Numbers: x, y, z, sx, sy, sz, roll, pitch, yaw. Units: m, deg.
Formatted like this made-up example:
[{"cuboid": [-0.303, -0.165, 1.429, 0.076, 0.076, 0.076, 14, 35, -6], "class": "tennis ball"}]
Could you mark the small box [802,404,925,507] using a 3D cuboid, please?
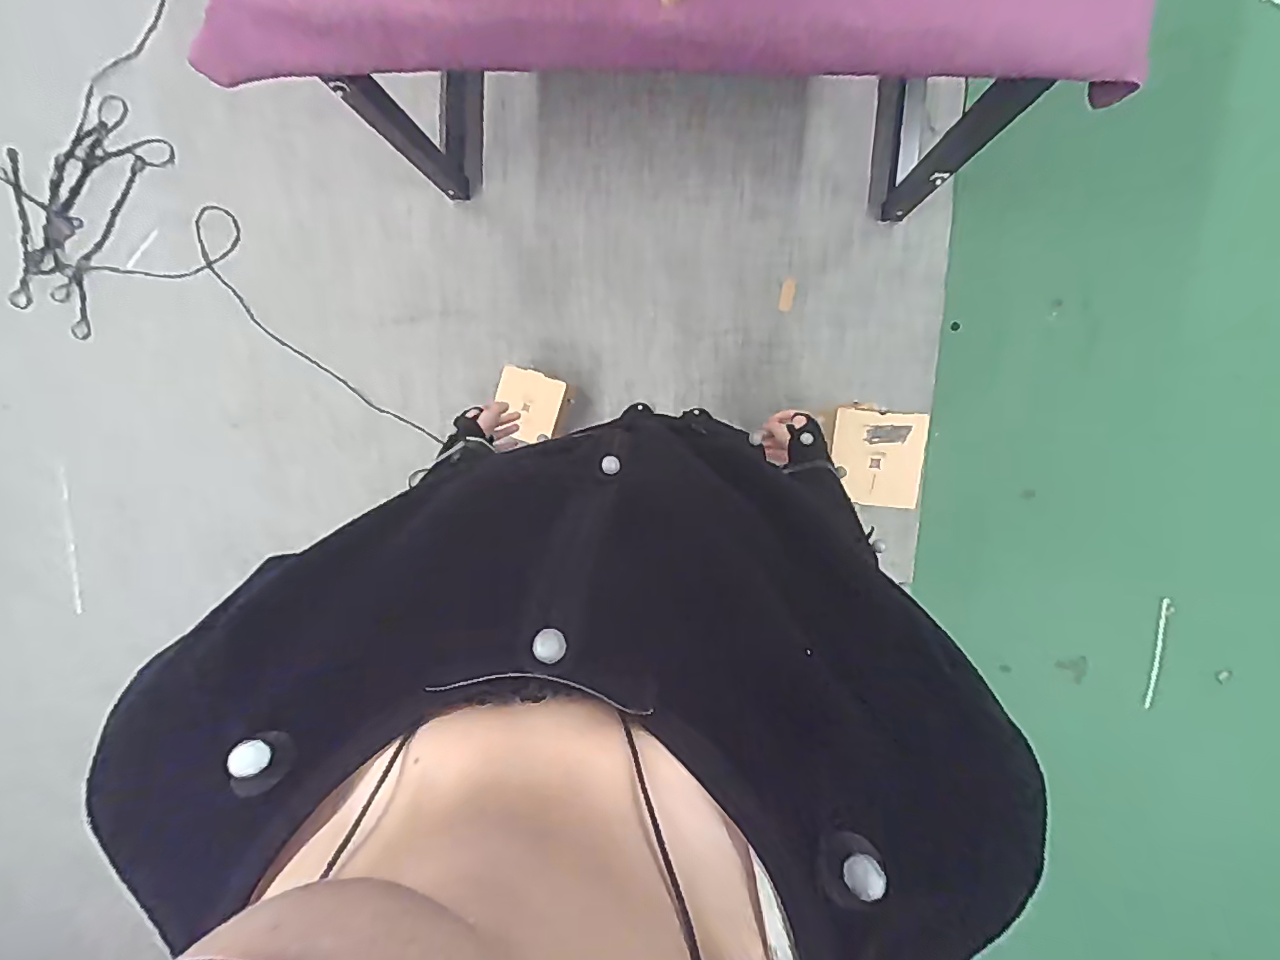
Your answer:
[{"cuboid": [0.426, -0.055, 1.061, 0.168, 0.176, 0.179, 5, 99, 3], "class": "small box"}]

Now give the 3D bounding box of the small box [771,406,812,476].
[{"cuboid": [0.448, -0.089, 1.387, 0.179, 0.176, 0.168, 14, 98, 2], "class": "small box"}]

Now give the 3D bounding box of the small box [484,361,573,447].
[{"cuboid": [-0.286, -0.200, 1.423, 0.168, 0.176, 0.179, 19, 99, 2], "class": "small box"}]
